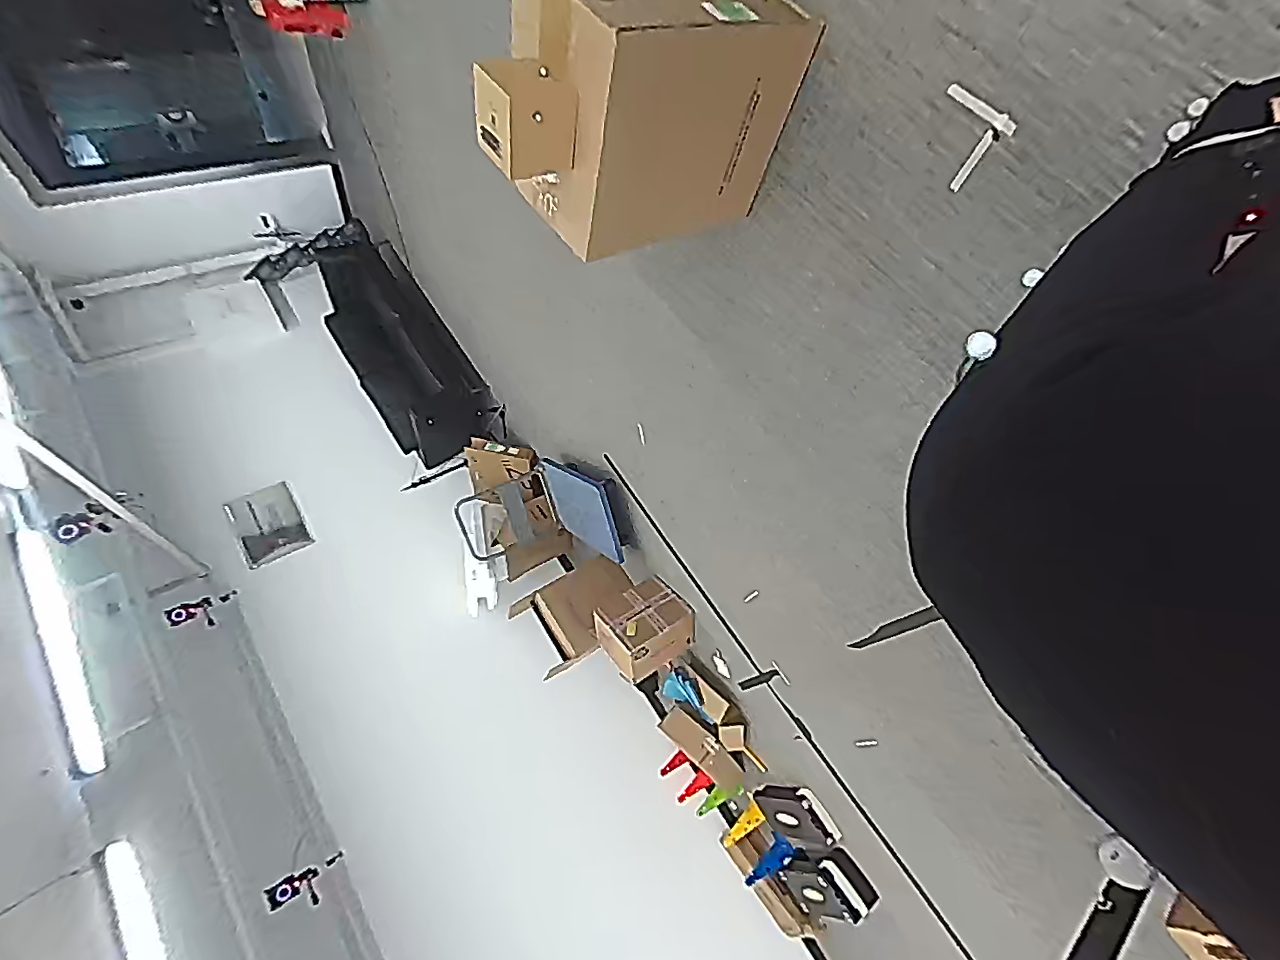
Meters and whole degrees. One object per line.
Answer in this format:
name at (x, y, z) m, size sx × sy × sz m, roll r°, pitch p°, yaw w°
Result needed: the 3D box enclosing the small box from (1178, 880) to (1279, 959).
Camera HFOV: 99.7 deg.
small box at (1.364, 1.028, 1.188) m, size 0.179 × 0.176 × 0.168 m, roll 54°, pitch 152°, yaw 17°
